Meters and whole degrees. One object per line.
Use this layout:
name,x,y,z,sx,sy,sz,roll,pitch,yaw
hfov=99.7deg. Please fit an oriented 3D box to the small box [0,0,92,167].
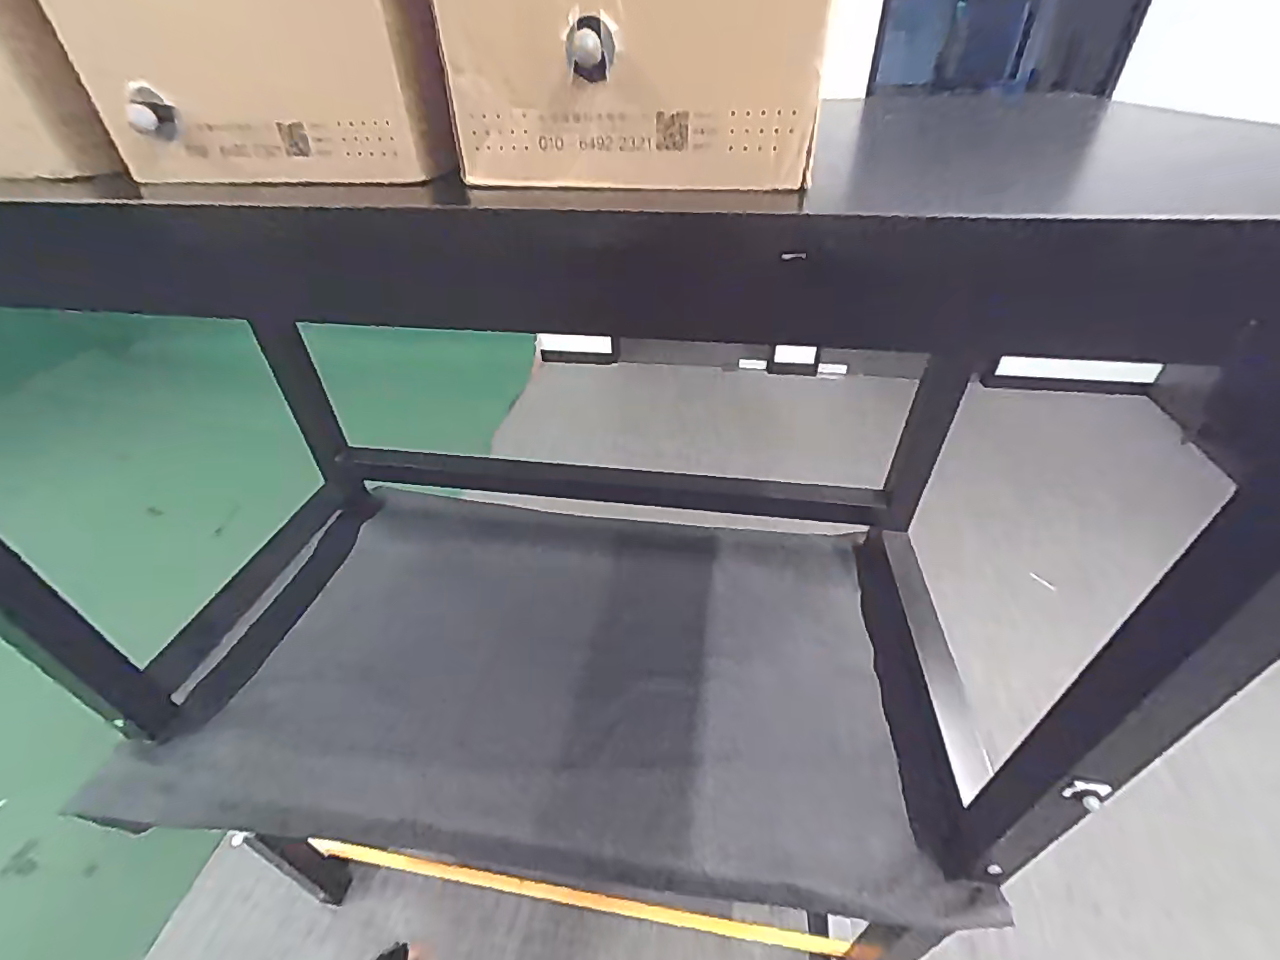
small box,-0.573,-0.313,0.380,0.168,0.176,0.179,6,38,7

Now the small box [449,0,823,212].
small box,0.006,-0.251,0.281,0.168,0.176,0.179,5,38,9
